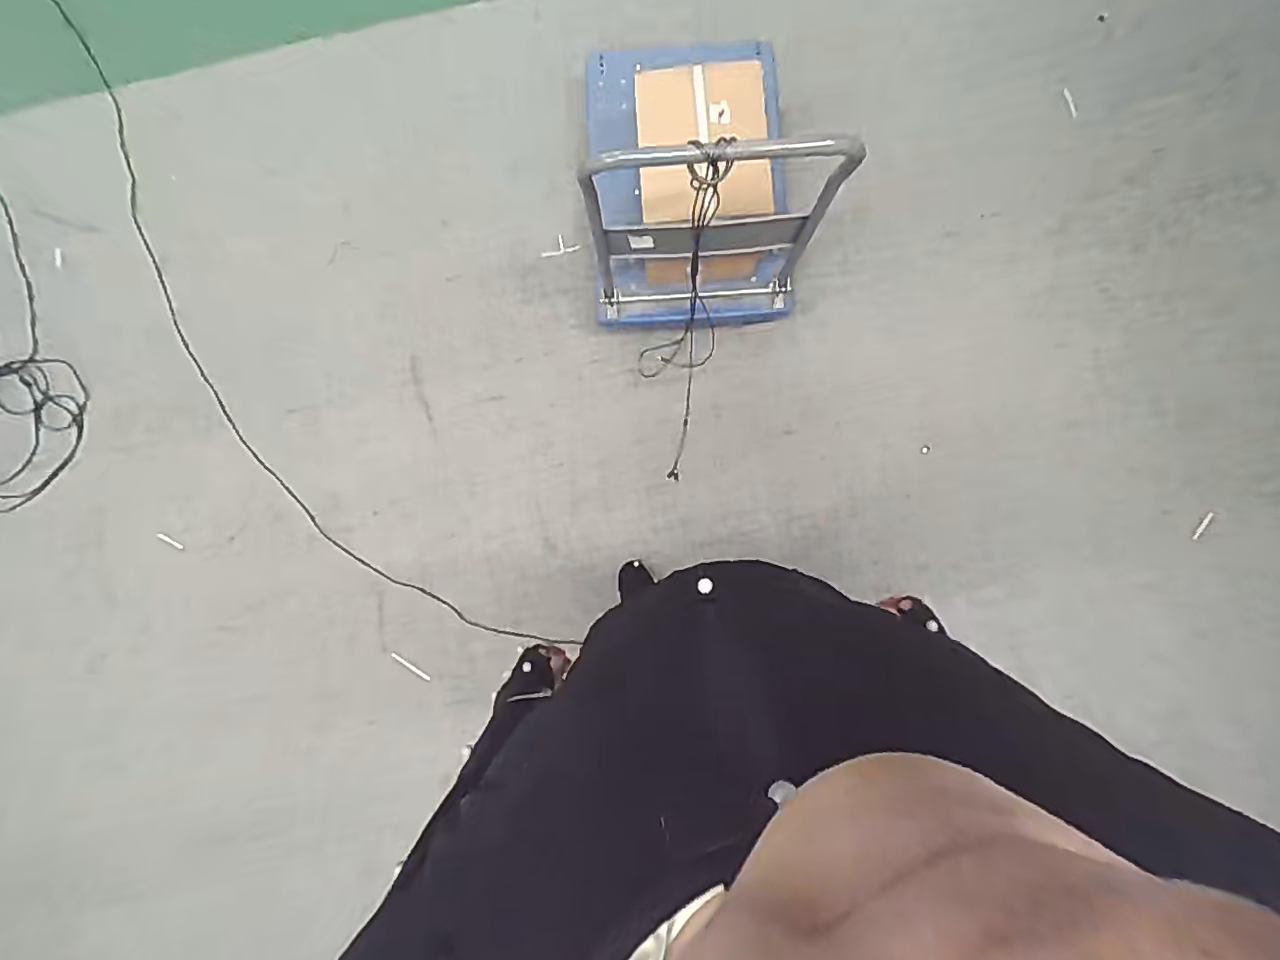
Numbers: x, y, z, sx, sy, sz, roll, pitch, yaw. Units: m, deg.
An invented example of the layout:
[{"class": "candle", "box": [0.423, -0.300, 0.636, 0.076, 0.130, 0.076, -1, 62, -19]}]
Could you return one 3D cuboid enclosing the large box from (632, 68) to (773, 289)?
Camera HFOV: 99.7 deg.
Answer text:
[{"class": "large box", "box": [0.154, -0.777, 1.440, 0.320, 0.320, 0.408, -3, 82, 2]}]
